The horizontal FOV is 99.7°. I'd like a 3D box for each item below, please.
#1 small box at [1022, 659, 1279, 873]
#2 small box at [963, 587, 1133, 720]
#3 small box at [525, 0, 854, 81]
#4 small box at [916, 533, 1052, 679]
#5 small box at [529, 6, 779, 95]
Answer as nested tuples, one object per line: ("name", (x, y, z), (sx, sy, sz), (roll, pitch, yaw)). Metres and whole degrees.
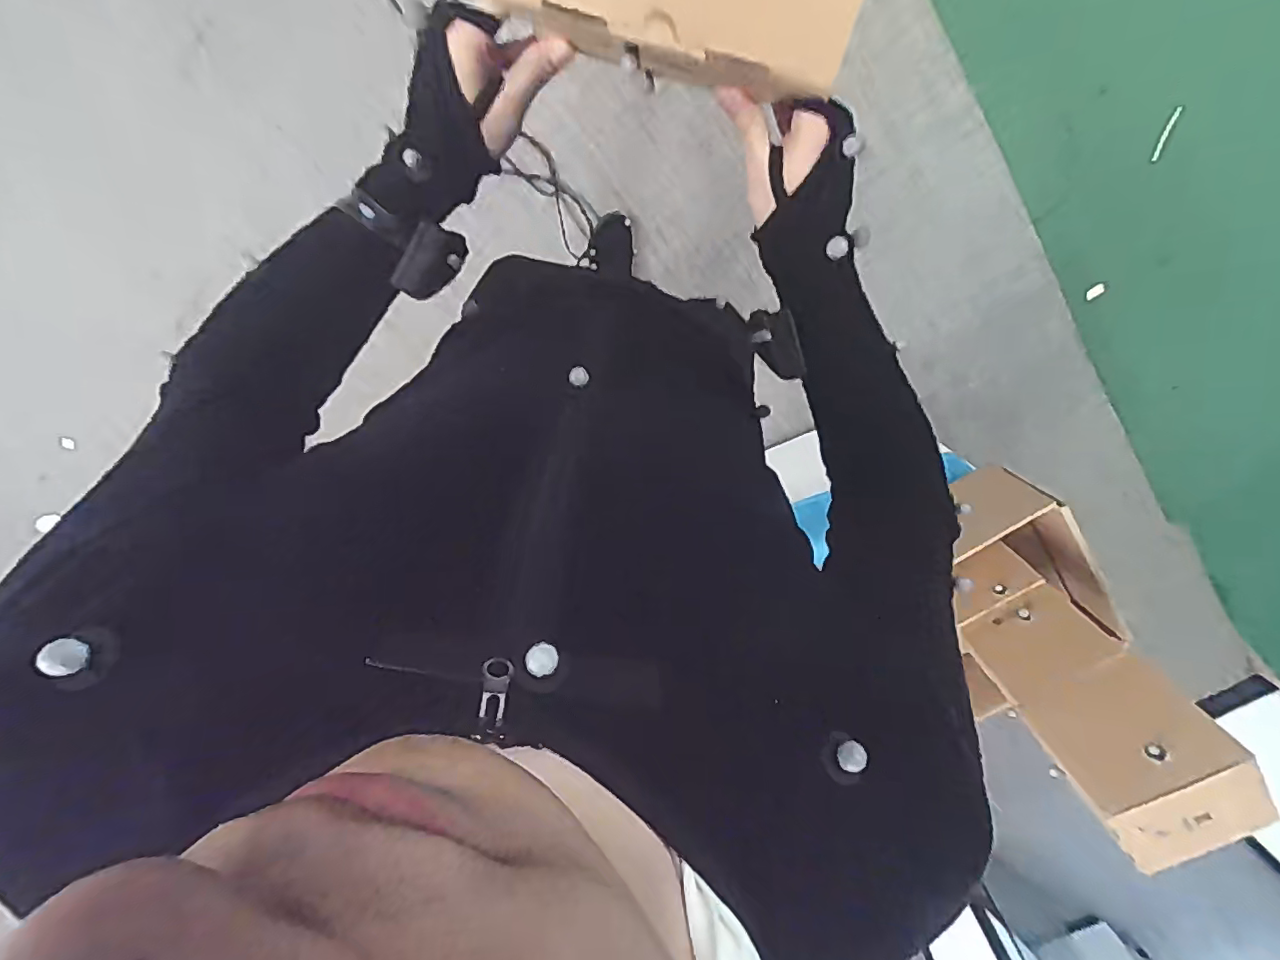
("small box", (0.680, 0.381, 0.737), (0.179, 0.176, 0.168), (-36, 112, 14))
("small box", (0.678, 0.311, 0.886), (0.168, 0.176, 0.179), (-36, 112, 15))
("small box", (0.024, -0.310, 0.249), (0.168, 0.176, 0.179), (10, 126, -7))
("small box", (0.668, 0.234, 1.029), (0.168, 0.176, 0.179), (-36, 113, 15))
("small box", (0.029, -0.397, 0.386), (0.179, 0.176, 0.168), (11, 125, -6))
